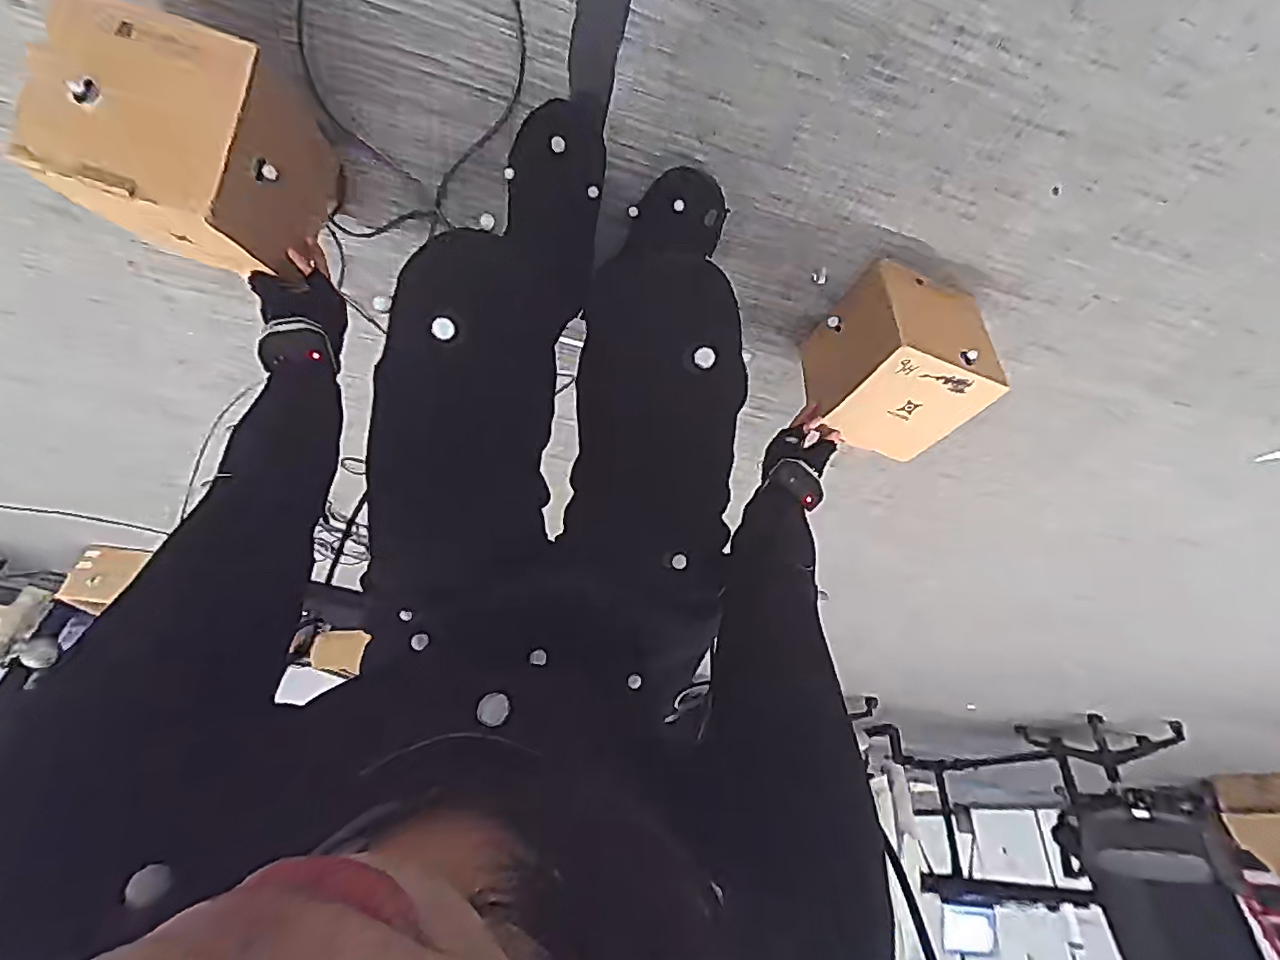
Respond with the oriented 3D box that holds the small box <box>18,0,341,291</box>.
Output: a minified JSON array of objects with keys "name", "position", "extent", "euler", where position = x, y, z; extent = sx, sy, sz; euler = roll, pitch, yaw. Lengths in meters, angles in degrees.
[{"name":"small box","position":[-0.443,-0.324,0.553],"extent":[0.168,0.176,0.179],"euler":[17,180,-5]}]

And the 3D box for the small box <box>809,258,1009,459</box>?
[{"name":"small box","position":[0.349,-0.160,0.738],"extent":[0.168,0.176,0.179],"euler":[16,146,-15]}]
